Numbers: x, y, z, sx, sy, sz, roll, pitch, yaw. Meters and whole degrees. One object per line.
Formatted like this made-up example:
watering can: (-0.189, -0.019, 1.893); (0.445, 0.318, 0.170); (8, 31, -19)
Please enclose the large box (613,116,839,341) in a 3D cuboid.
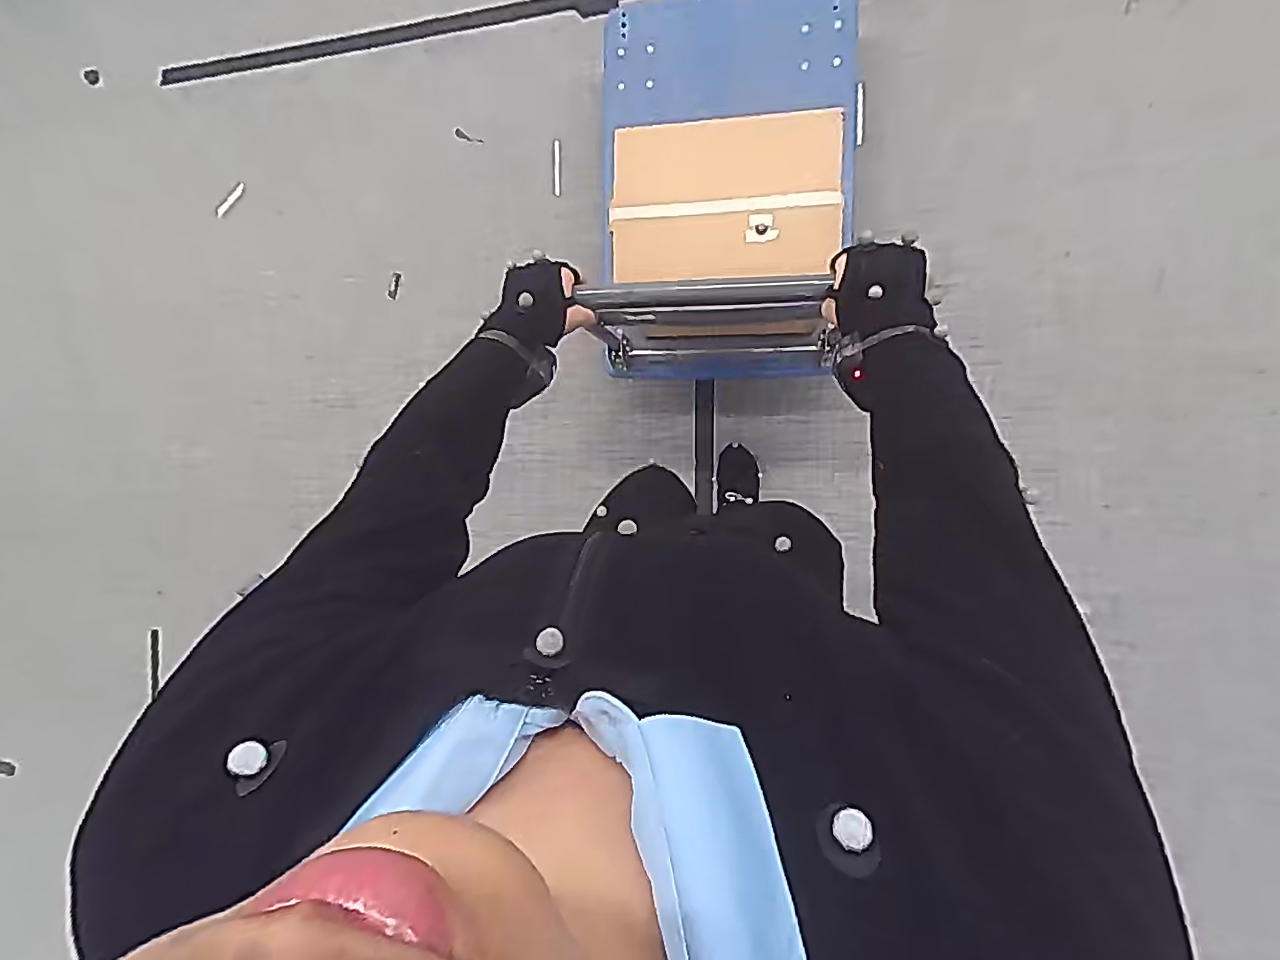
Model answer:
large box: (0.168, -0.481, 1.114); (0.408, 0.320, 0.320); (1, 93, 9)
